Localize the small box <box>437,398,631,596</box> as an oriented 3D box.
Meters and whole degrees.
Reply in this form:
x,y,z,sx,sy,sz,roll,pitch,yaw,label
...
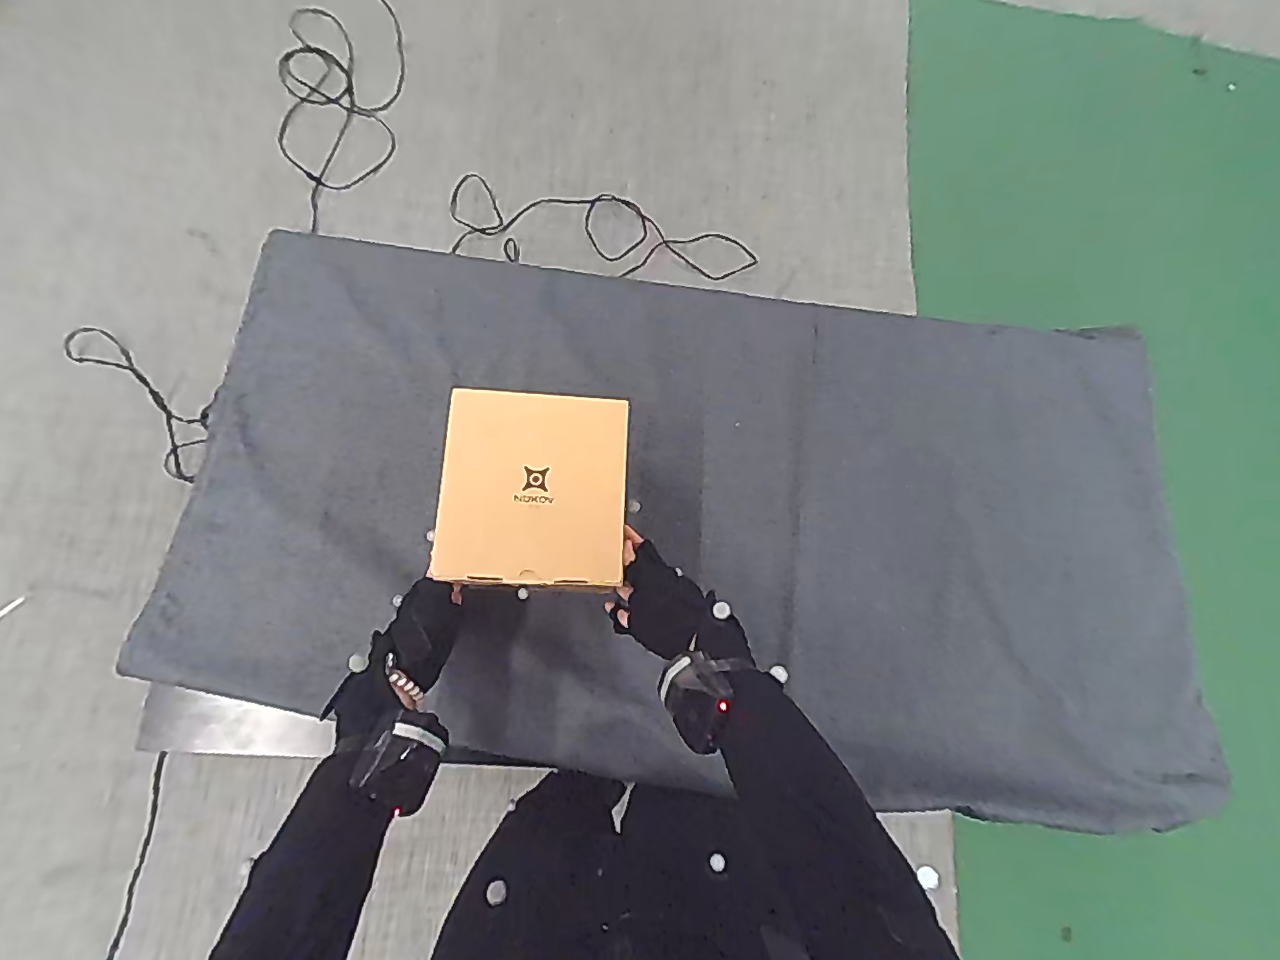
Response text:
x,y,z,sx,sy,sz,roll,pitch,yaw,label
-0.104,0.030,0.576,0.168,0.176,0.179,4,77,-6,small box
